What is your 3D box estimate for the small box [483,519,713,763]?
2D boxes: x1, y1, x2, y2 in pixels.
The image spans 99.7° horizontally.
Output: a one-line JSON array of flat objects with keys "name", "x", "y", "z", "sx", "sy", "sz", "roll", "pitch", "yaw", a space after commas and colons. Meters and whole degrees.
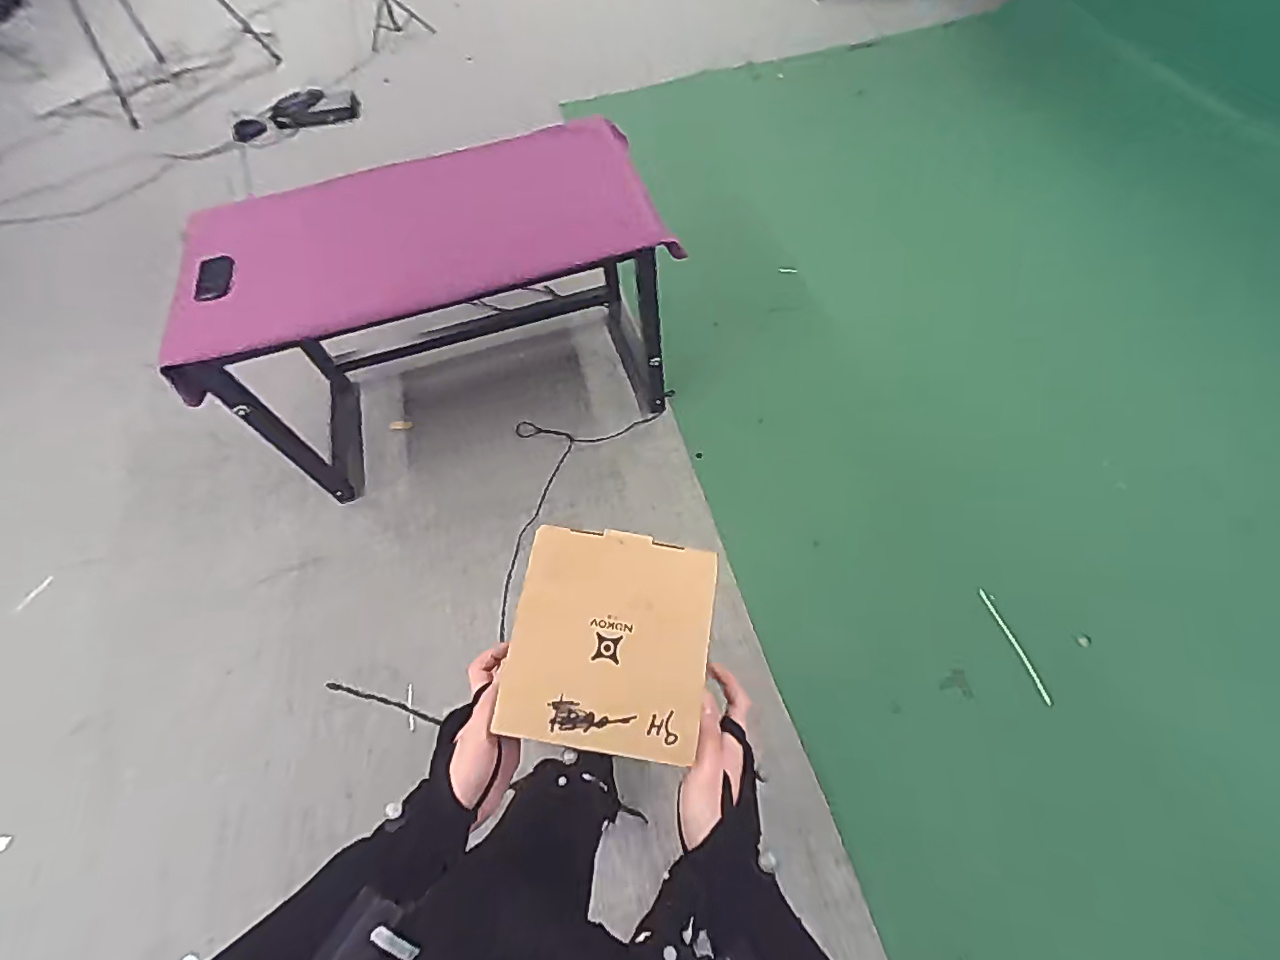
[{"name": "small box", "x": -0.030, "y": 0.155, "z": 0.520, "sx": 0.168, "sy": 0.176, "sz": 0.179, "roll": 8, "pitch": 68, "yaw": 4}]
